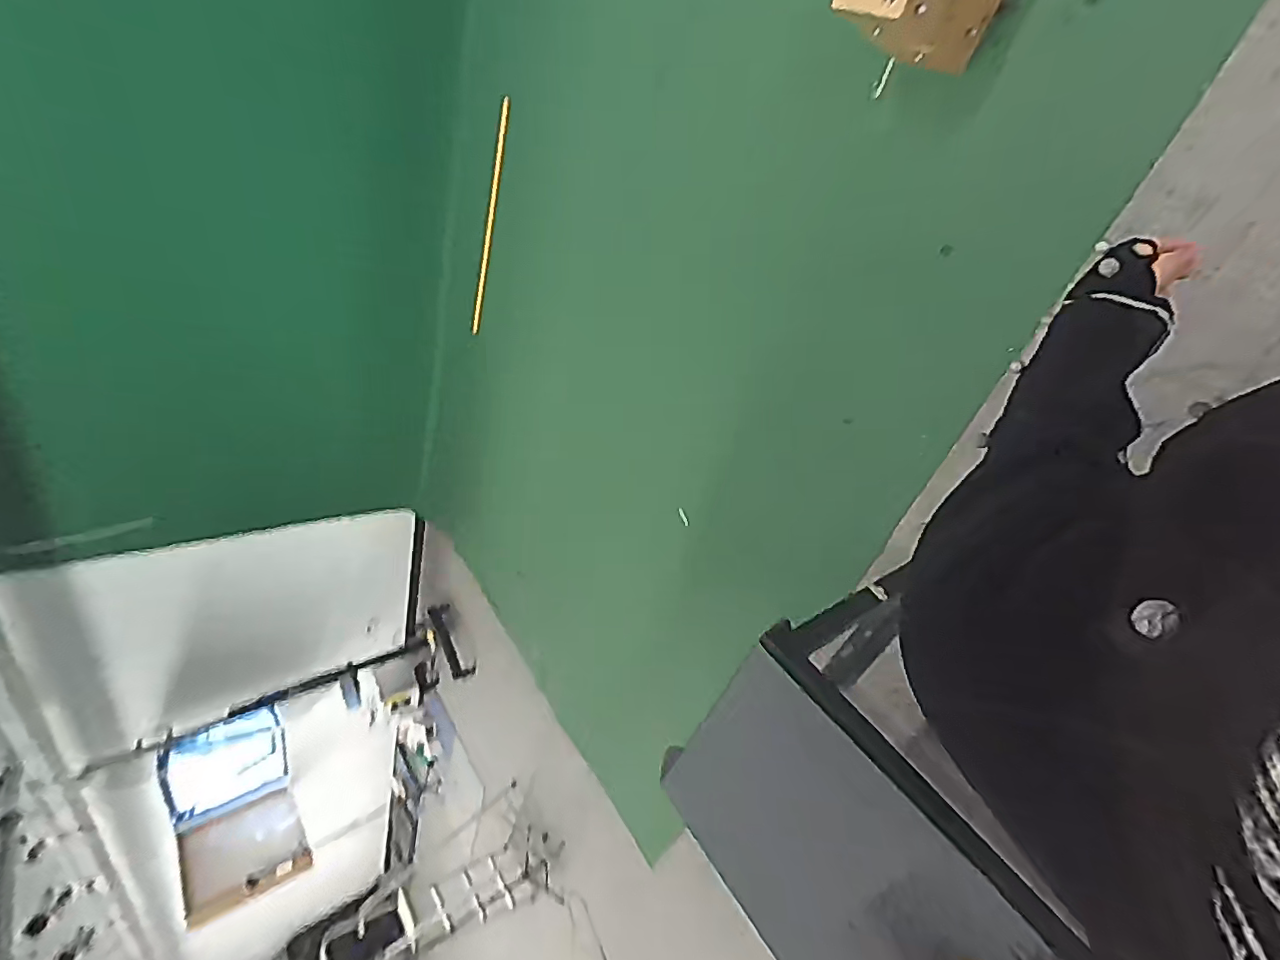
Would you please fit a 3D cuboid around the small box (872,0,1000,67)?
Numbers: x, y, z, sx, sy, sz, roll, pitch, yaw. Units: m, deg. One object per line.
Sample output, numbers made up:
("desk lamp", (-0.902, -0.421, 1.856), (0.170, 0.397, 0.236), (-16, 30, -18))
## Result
("small box", (0.674, -1.070, 1.222), (0.179, 0.176, 0.168), (46, 130, 32))
